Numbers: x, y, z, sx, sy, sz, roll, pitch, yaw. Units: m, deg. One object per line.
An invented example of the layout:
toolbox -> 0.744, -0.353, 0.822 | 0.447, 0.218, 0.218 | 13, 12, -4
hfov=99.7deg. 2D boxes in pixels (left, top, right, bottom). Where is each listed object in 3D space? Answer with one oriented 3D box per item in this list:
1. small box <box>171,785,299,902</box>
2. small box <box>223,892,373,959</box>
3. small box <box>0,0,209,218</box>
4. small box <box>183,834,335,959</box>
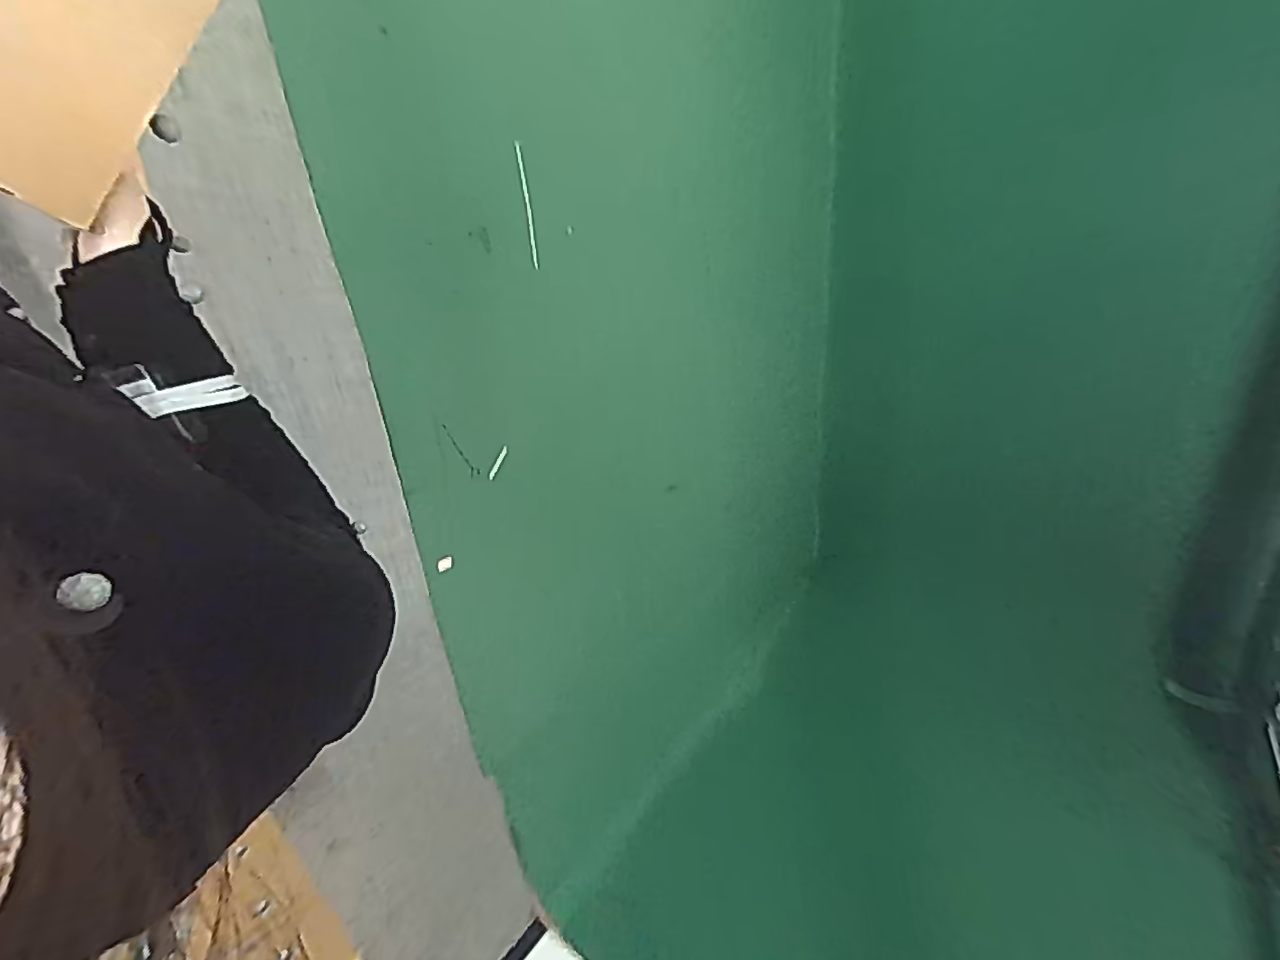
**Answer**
small box -> -0.794, 0.763, 1.082 | 0.168, 0.176, 0.179 | -27, 122, -45
small box -> -0.545, 0.820, 0.873 | 0.168, 0.176, 0.179 | -20, 116, -48
small box -> -0.380, -0.295, 0.305 | 0.179, 0.176, 0.168 | -53, 144, 9
small box -> -0.669, 0.795, 0.974 | 0.179, 0.176, 0.168 | -30, 124, -47
